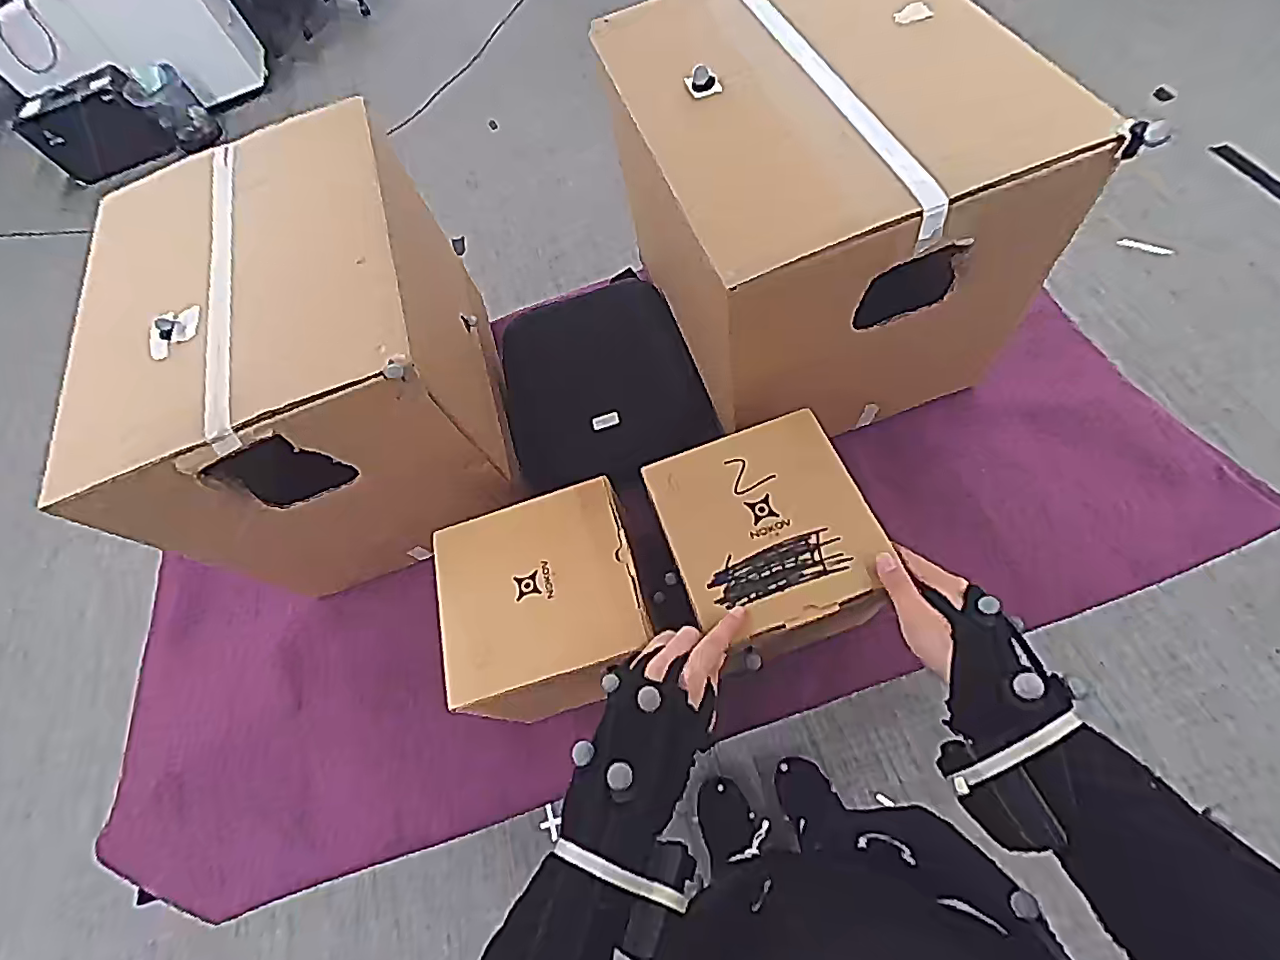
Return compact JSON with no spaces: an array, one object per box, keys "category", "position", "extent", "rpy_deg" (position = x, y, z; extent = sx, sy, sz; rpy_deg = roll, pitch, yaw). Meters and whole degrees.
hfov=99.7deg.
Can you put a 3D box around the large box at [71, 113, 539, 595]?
[{"category":"large box","position":[-0.355,-0.129,0.647],"extent":[0.320,0.320,0.408],"rpy_deg":[-22,64,1]}]
